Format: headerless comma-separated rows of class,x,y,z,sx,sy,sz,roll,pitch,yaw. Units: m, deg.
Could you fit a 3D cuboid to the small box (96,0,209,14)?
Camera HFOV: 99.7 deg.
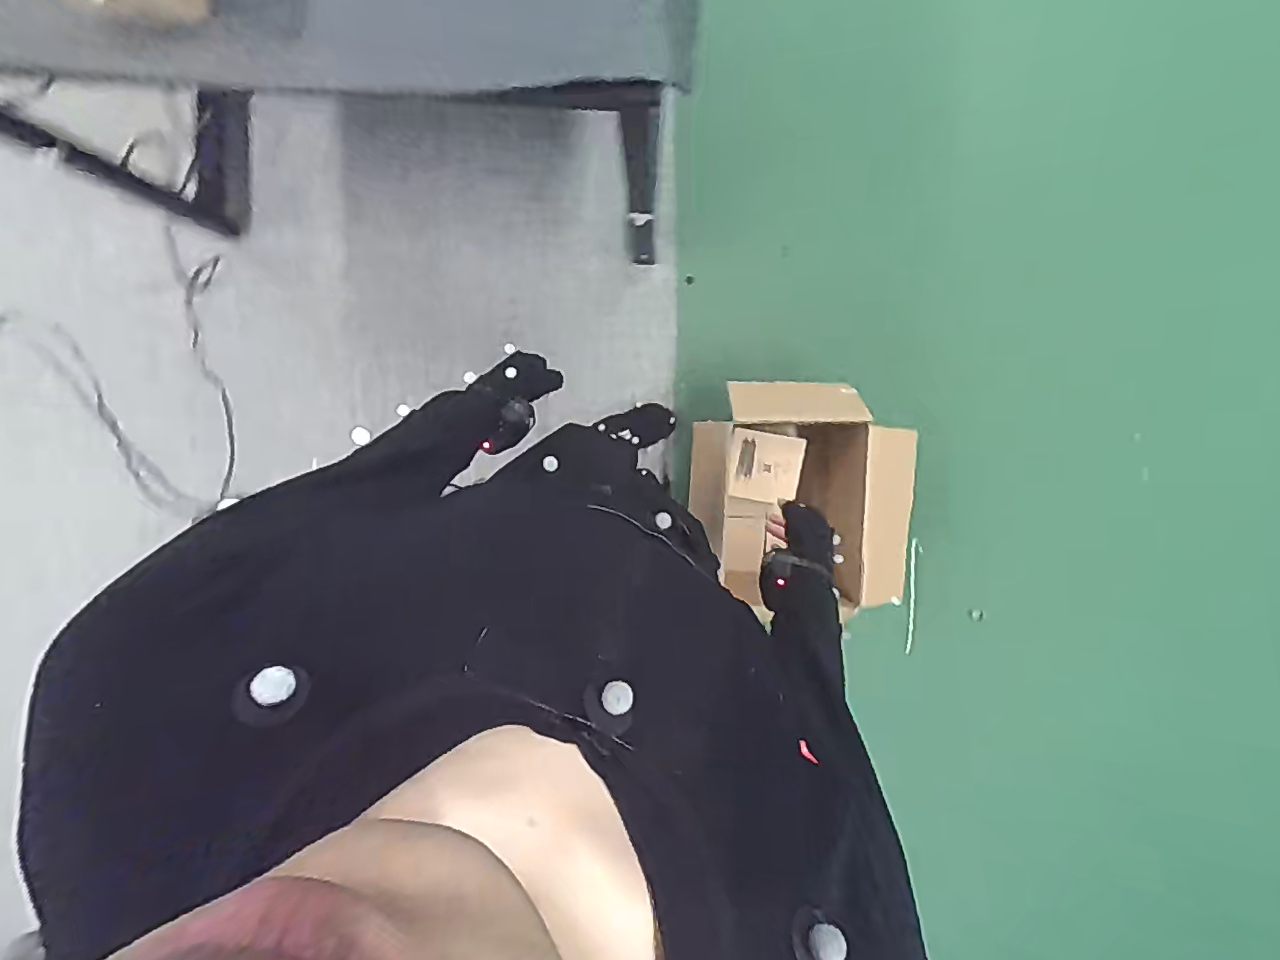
small box,-0.629,-0.693,0.615,0.168,0.176,0.179,7,94,1
